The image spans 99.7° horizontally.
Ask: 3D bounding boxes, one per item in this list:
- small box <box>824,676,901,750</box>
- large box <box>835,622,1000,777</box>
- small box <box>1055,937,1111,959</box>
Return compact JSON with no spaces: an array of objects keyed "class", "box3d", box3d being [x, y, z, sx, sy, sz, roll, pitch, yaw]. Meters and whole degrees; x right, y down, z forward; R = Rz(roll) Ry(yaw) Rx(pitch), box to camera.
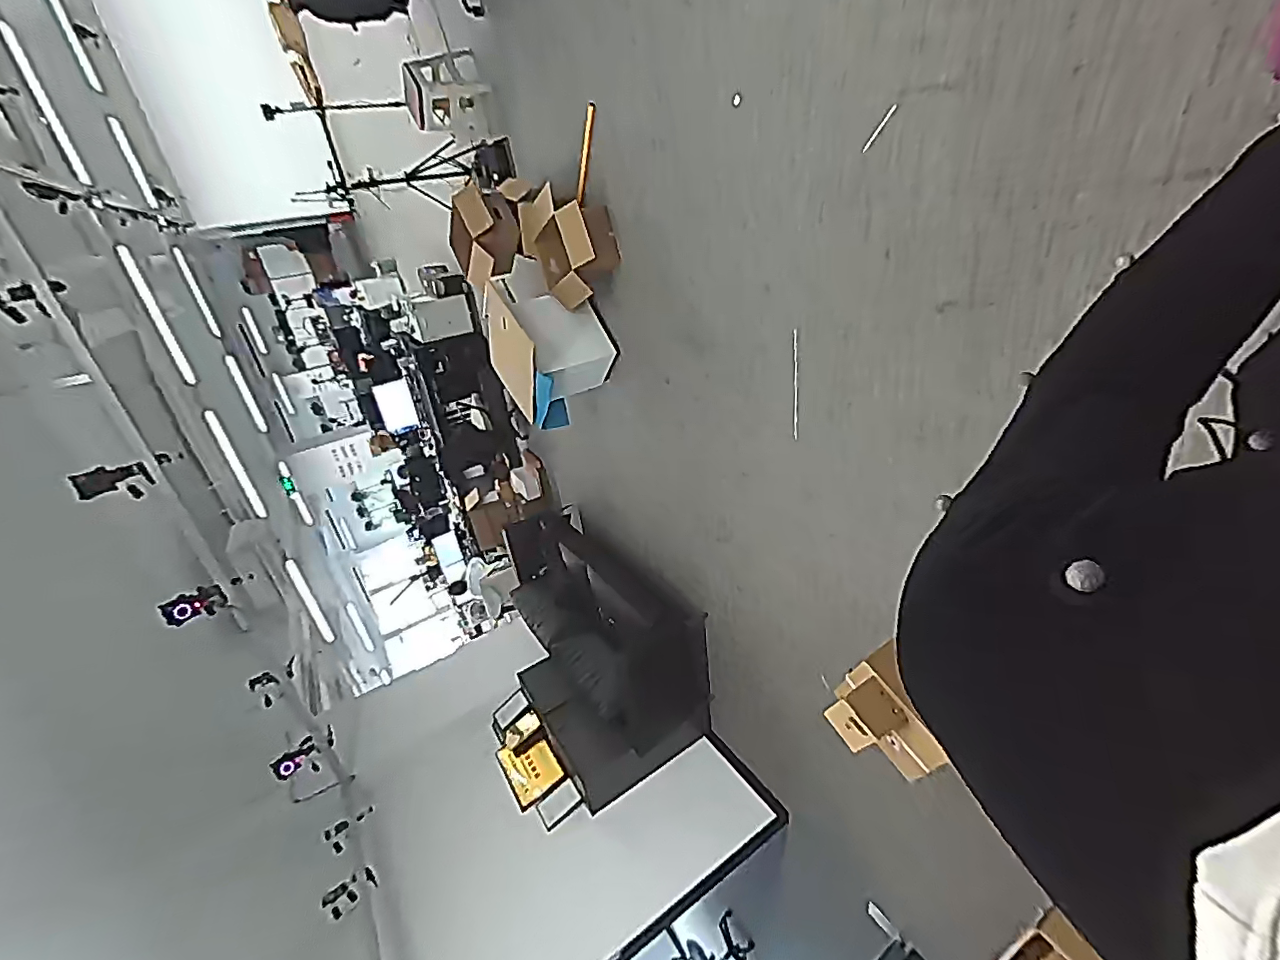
[{"class":"small box","box3d":[0.821,0.852,1.985,0.168,0.176,0.179,52,150,28]},{"class":"large box","box3d":[1.055,0.838,2.093,0.408,0.320,0.320,49,150,31]},{"class":"small box","box3d":[1.204,1.388,1.448,0.168,0.176,0.179,39,142,44]}]
